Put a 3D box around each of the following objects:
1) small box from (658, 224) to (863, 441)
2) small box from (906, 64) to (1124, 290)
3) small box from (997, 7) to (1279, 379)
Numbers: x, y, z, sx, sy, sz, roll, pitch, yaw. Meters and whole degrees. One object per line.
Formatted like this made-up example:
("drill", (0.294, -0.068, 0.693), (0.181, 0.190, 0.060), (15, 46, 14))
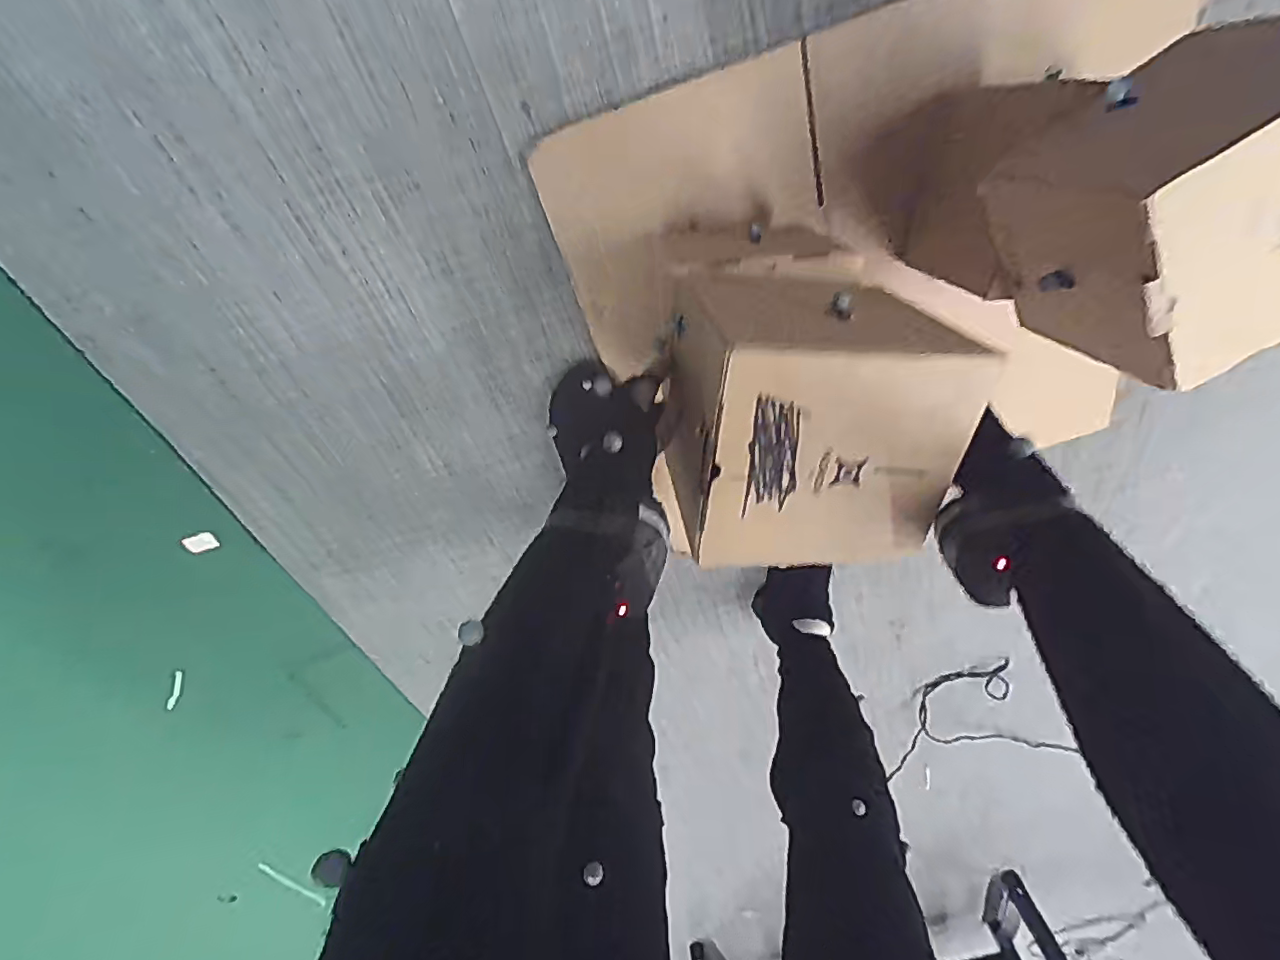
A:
("small box", (0.107, -0.158, 0.562), (0.168, 0.176, 0.179), (-4, 121, -1))
("small box", (0.404, -0.301, 0.549), (0.168, 0.176, 0.179), (-1, 124, -6))
("small box", (0.409, -0.214, 0.410), (0.179, 0.176, 0.168), (-32, 121, 15))
